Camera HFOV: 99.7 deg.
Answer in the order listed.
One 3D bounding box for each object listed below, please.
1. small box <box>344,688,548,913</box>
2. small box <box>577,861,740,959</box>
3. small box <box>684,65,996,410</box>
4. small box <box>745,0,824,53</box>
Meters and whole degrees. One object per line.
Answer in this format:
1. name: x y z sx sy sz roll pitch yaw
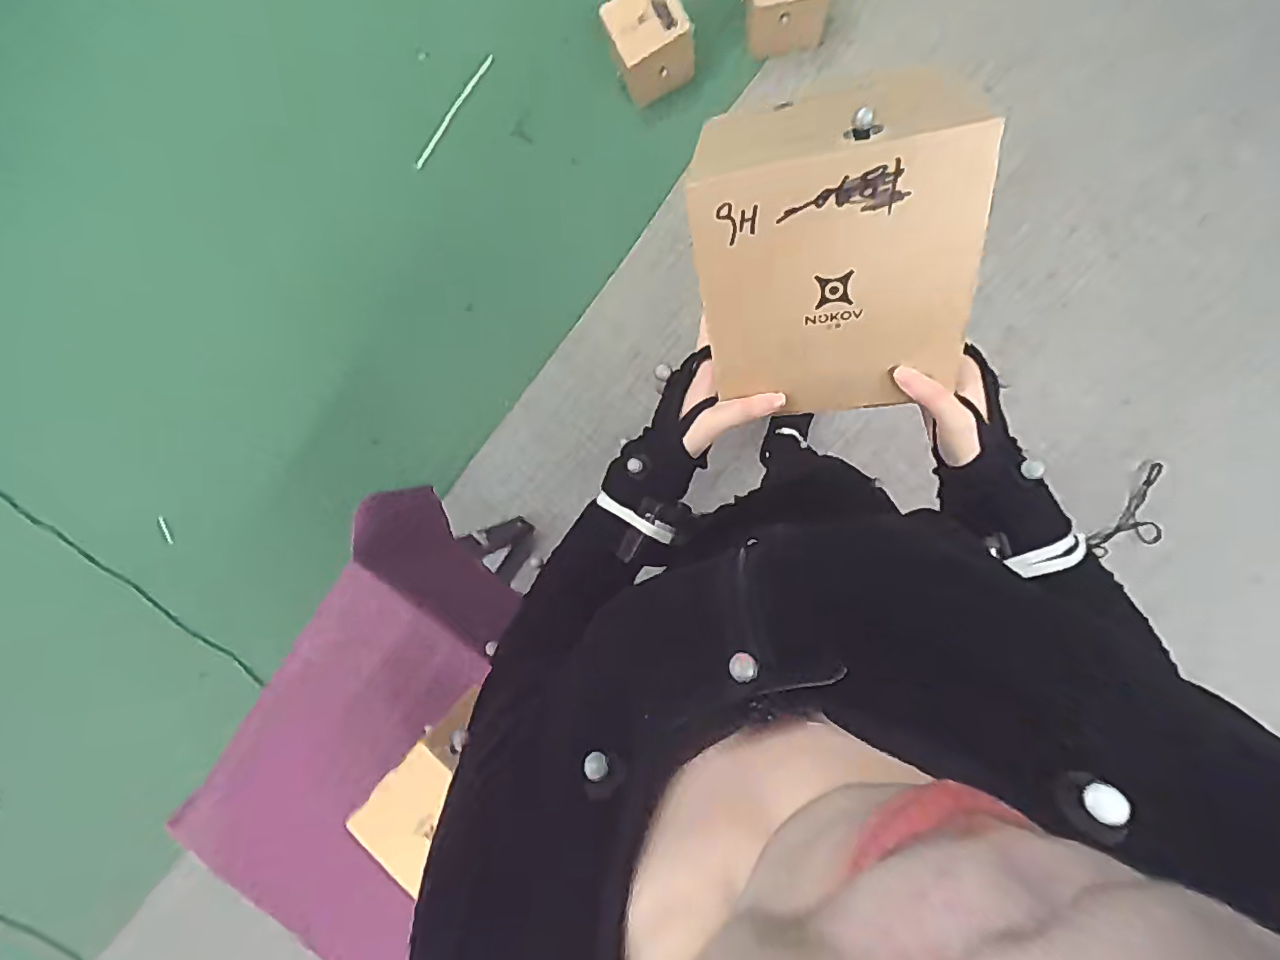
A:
1. small box: -0.258 0.434 0.762 0.179 0.176 0.168 43 98 4
2. small box: 0.020 0.670 0.733 0.179 0.176 0.168 39 99 4
3. small box: 0.134 -0.176 0.406 0.168 0.176 0.179 -3 134 15
4. small box: 0.349 -1.188 1.314 0.179 0.176 0.168 -6 92 8
